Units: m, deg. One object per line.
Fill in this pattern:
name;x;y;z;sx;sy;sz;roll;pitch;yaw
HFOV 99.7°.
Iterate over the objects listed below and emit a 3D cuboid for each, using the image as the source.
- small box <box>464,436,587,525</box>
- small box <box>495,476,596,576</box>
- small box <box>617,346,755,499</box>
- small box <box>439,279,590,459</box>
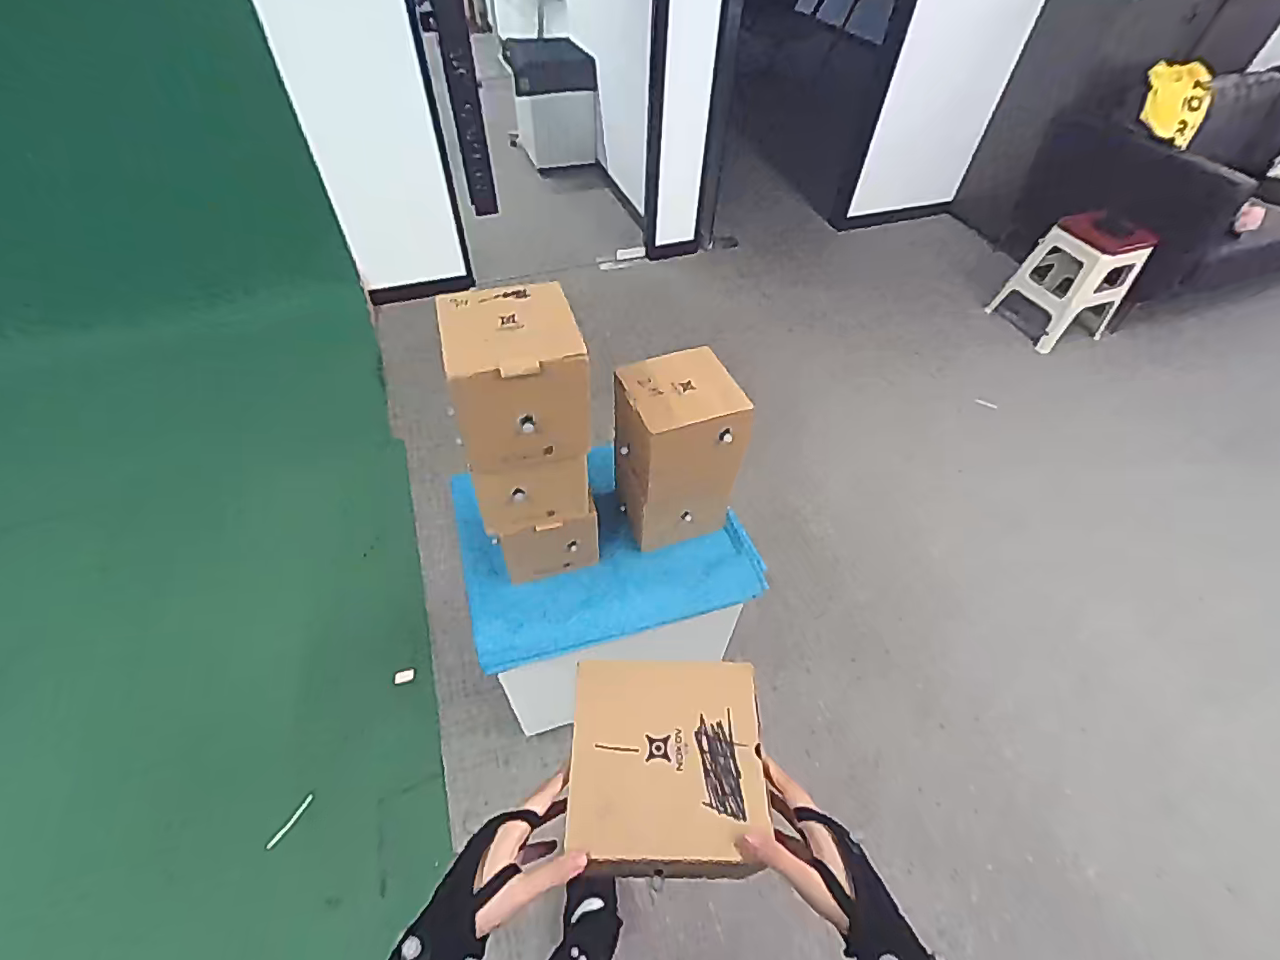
small box;-0.181;-0.045;0.859;0.168;0.176;0.179;-11;50;-13
small box;-0.177;0.057;0.986;0.168;0.176;0.179;-11;51;-14
small box;0.066;-0.094;0.907;0.179;0.176;0.168;-15;52;-14
small box;-0.165;-0.144;0.729;0.168;0.176;0.179;-11;51;-13
